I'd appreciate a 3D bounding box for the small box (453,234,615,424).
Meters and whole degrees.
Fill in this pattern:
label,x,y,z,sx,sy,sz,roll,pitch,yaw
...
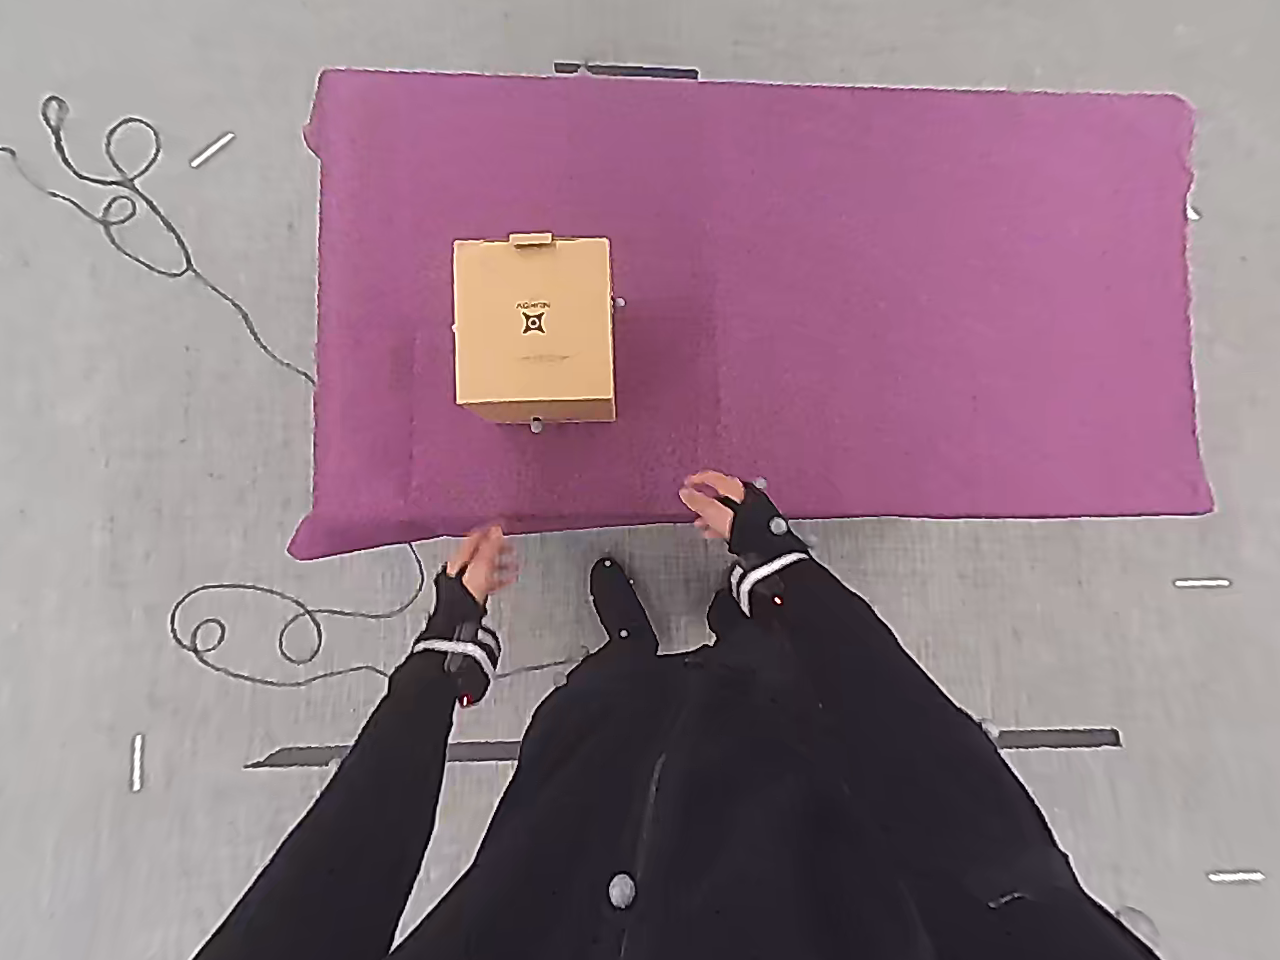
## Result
label,x,y,z,sx,sy,sz,roll,pitch,yaw
small box,-0.114,-0.166,0.640,0.168,0.176,0.179,-1,88,-2
